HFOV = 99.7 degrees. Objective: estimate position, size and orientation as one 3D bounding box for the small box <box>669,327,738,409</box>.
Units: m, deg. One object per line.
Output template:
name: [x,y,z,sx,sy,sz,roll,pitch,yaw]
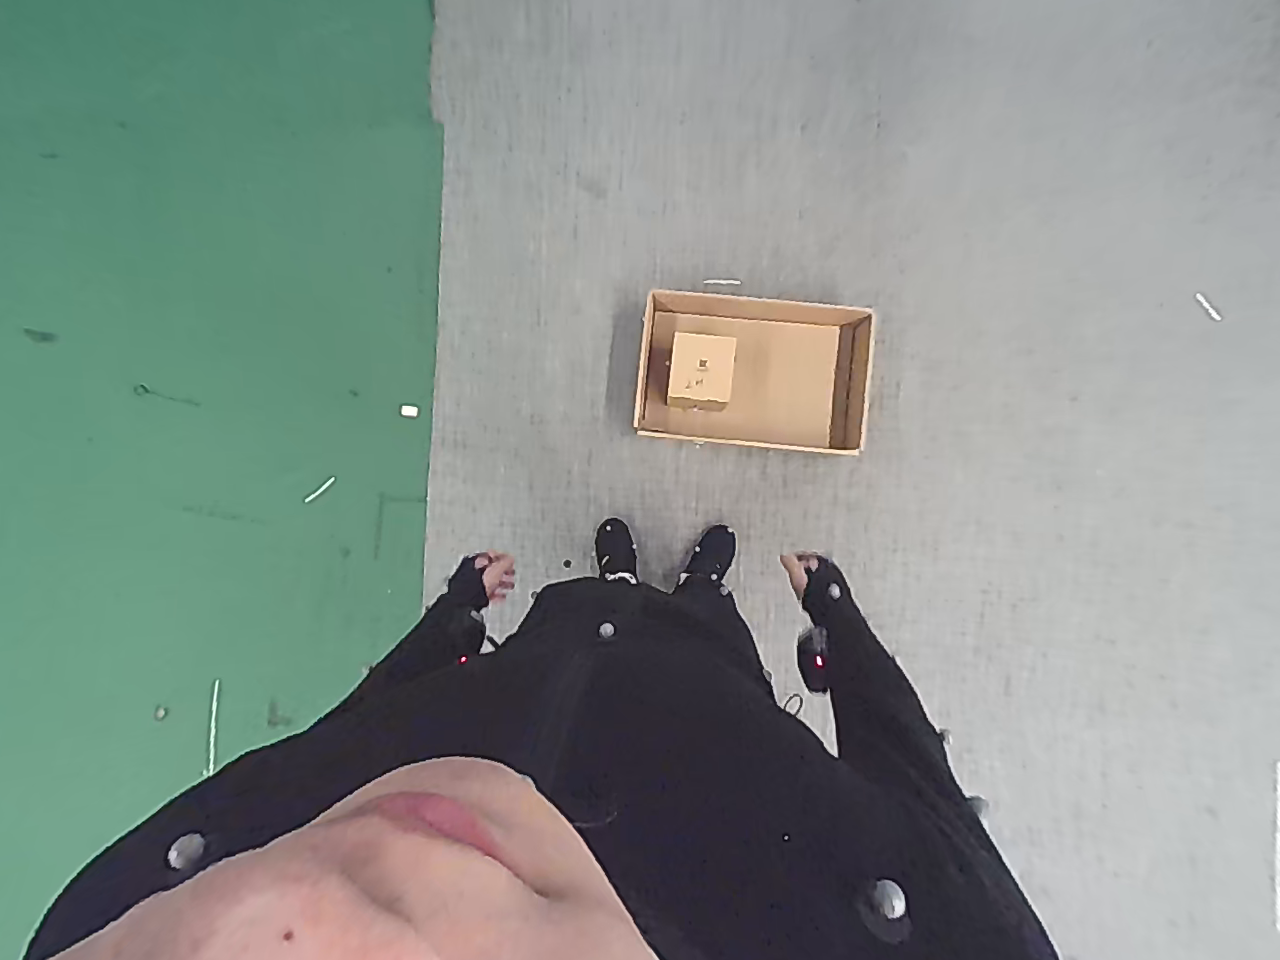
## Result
small box: [0.170,-0.304,1.496,0.168,0.176,0.179,7,89,3]
